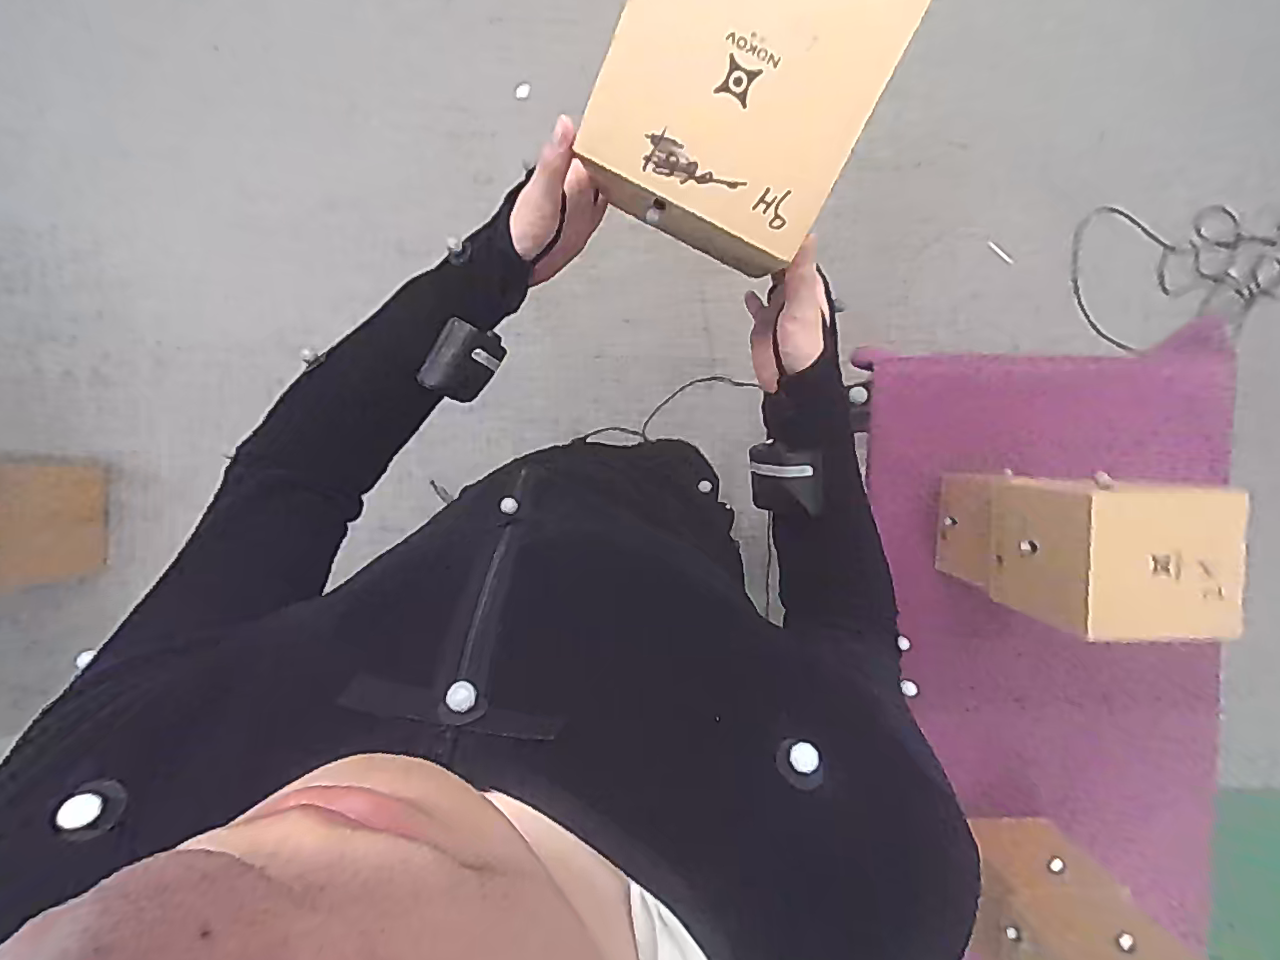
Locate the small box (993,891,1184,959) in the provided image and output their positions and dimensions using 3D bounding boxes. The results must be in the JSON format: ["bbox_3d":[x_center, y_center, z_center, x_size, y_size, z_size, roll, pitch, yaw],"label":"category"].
[{"bbox_3d":[0.601,0.685,0.715,0.179,0.176,0.168,0,92,-4],"label":"small box"}]

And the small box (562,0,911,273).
[{"bbox_3d":[0.060,-0.280,0.412,0.168,0.176,0.179,25,107,-4],"label":"small box"}]

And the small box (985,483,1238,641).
[{"bbox_3d":[0.568,0.093,0.677,0.179,0.176,0.168,0,94,-1],"label":"small box"}]
